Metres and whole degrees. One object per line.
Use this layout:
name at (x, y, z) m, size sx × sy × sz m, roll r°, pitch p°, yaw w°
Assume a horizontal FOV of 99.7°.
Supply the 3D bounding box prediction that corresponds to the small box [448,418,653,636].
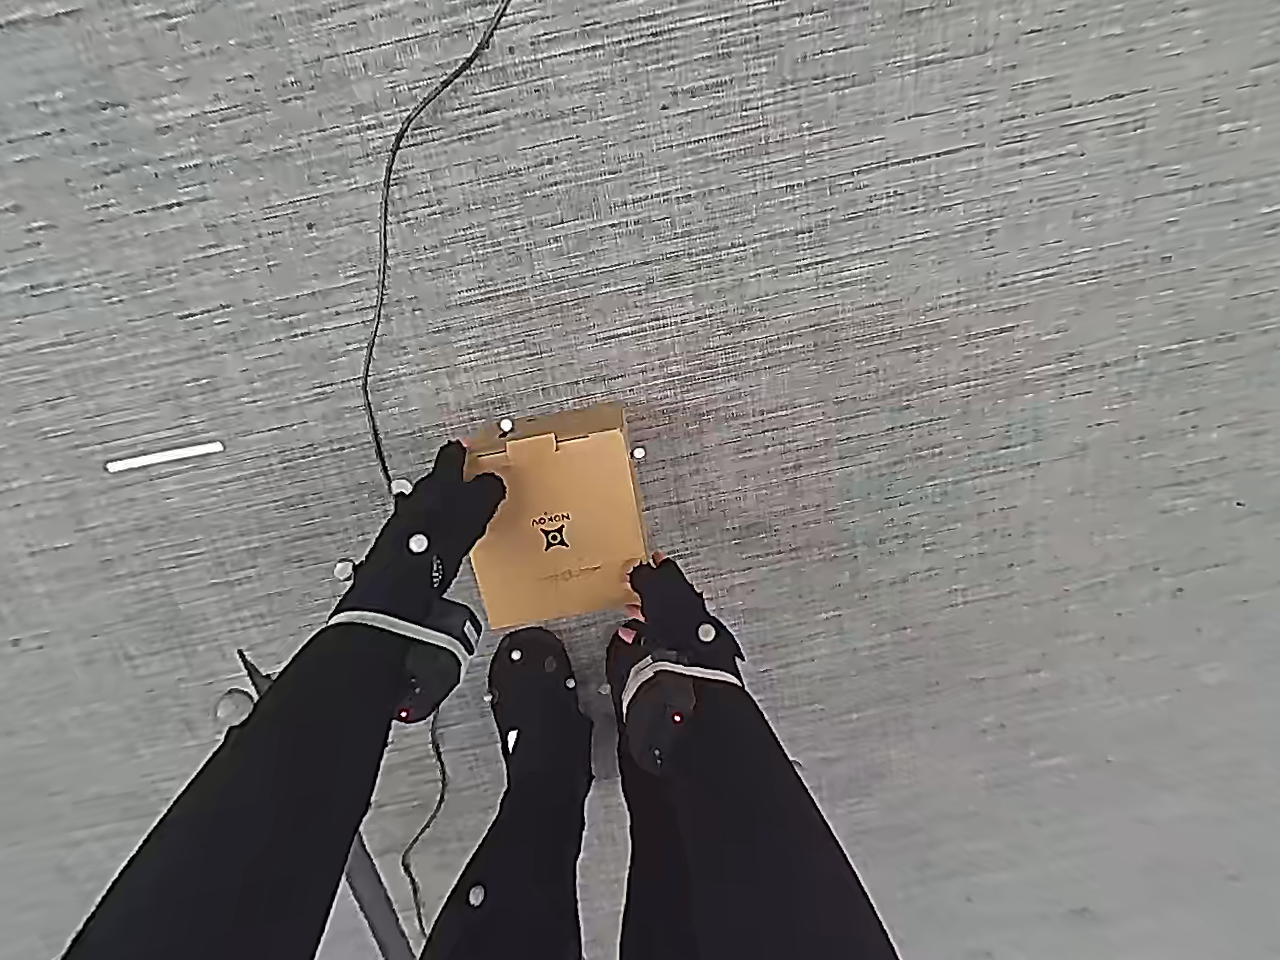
small box at (-0.083, 0.036, 0.580) m, size 0.168 × 0.176 × 0.179 m, roll -9°, pitch 107°, yaw 1°
